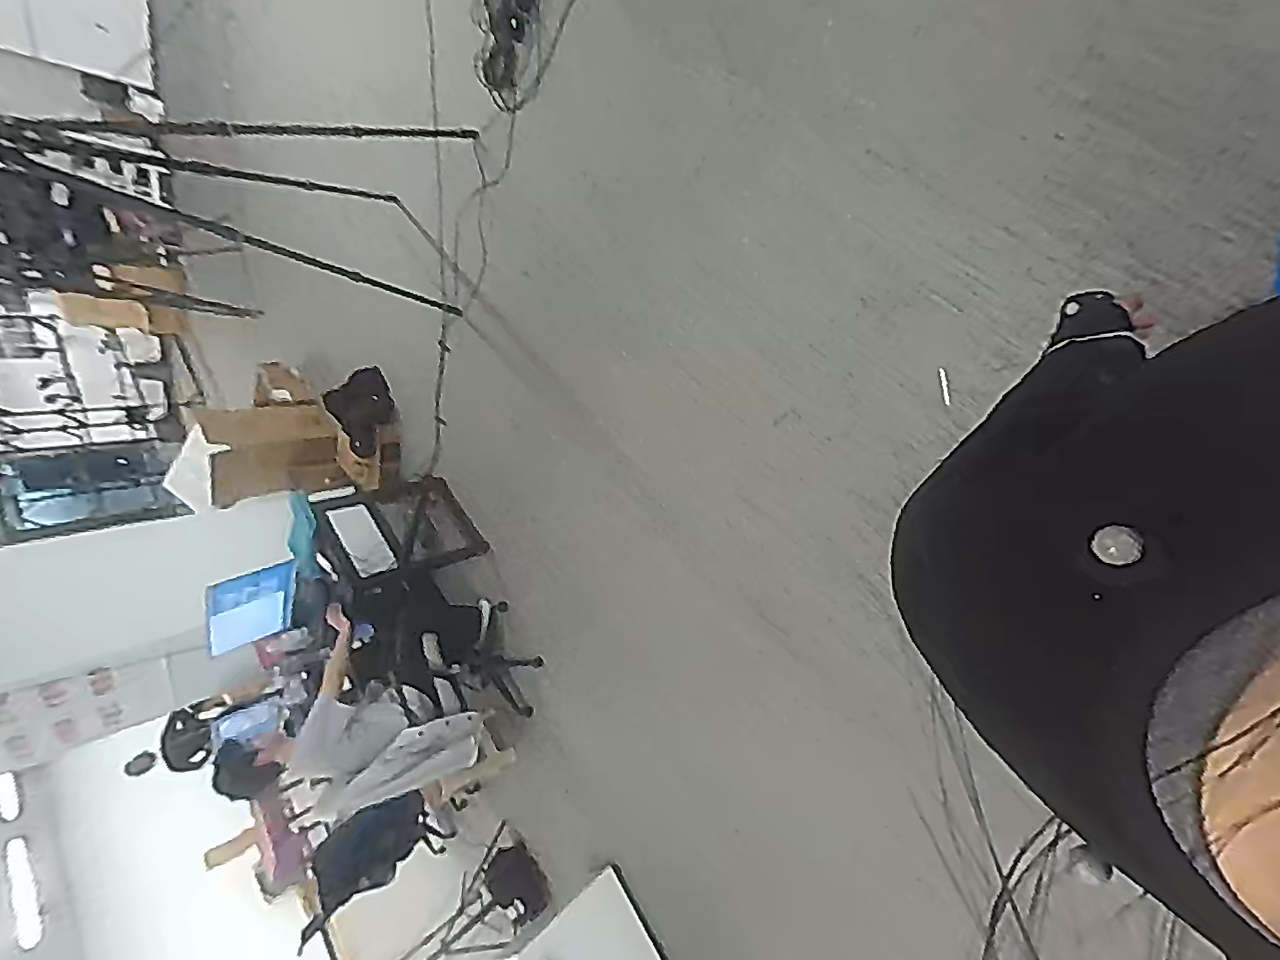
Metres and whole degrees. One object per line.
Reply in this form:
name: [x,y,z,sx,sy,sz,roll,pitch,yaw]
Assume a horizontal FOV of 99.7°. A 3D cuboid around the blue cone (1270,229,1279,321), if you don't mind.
blue cone: [1.075,-0.329,0.777,0.193,0.380,0.192,5,105,44]
